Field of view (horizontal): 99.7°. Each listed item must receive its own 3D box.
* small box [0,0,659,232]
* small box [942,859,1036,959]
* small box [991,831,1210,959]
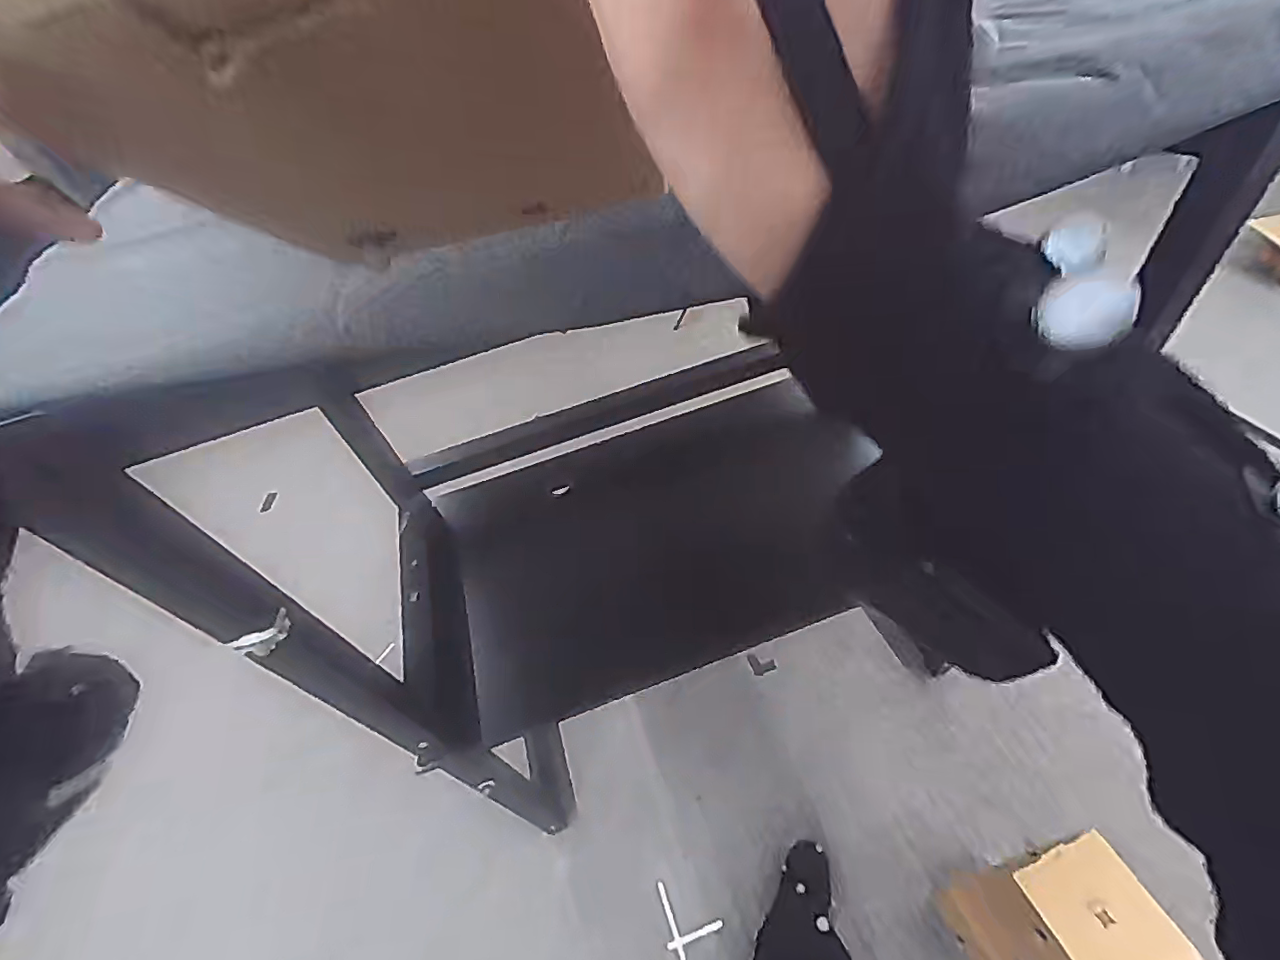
[{"bbox_3d":[-0.090,-0.199,0.171,0.168,0.179,0.176,-10,5,6],"label":"small box"},{"bbox_3d":[0.759,0.910,1.106,0.179,0.176,0.168,-21,48,-6],"label":"small box"},{"bbox_3d":[0.711,0.699,0.860,0.168,0.176,0.179,-22,48,-7],"label":"small box"}]
